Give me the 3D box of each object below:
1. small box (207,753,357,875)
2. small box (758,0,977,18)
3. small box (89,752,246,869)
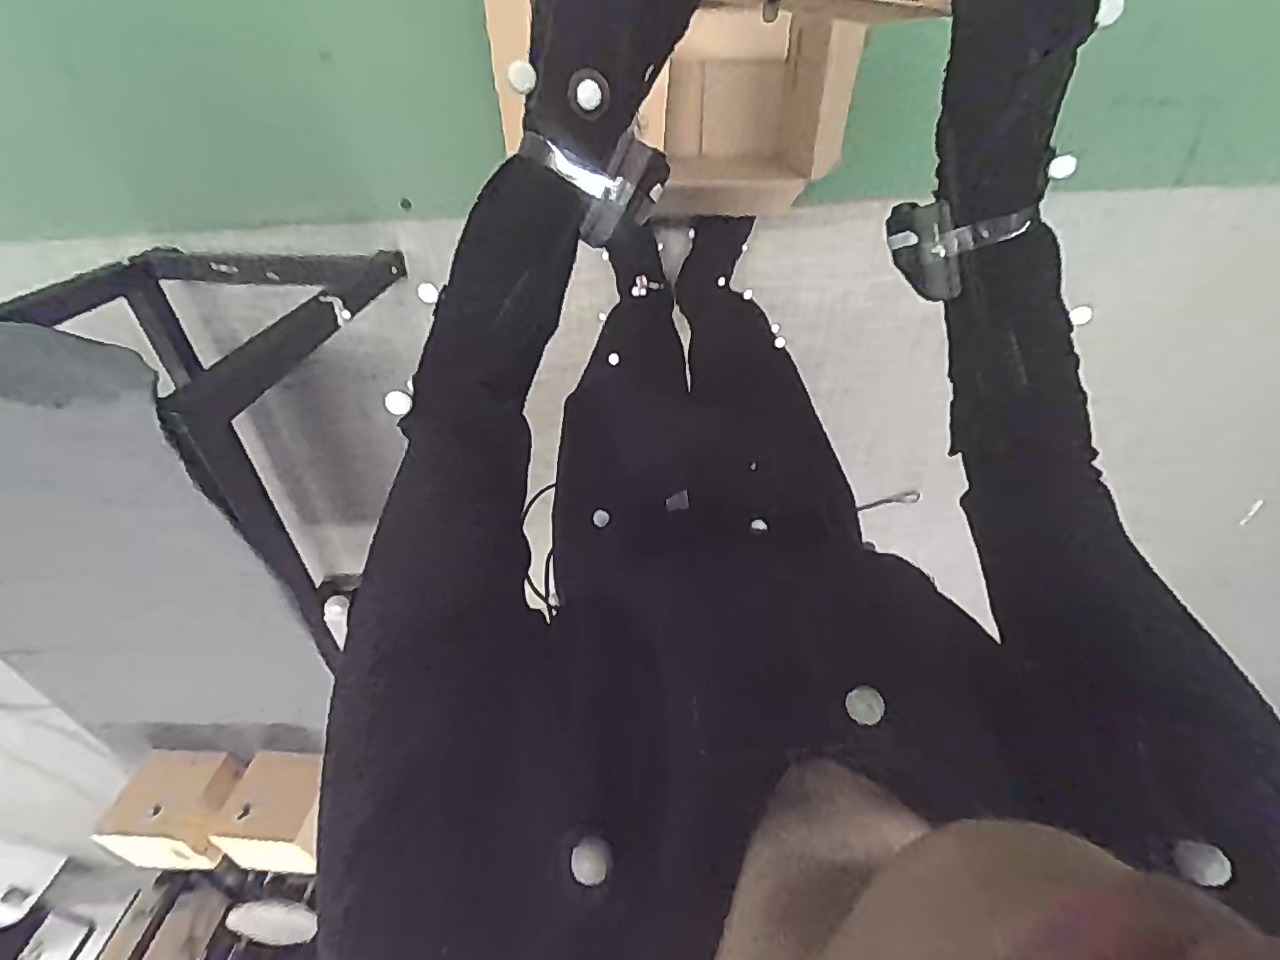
[{"bbox_3d":[-0.735,0.694,1.133,0.179,0.176,0.168,3,127,2],"label":"small box"},{"bbox_3d":[0.118,-0.388,0.306,0.168,0.176,0.179,5,130,-4],"label":"small box"},{"bbox_3d":[-0.971,0.698,1.146,0.179,0.176,0.168,1,127,2],"label":"small box"}]
